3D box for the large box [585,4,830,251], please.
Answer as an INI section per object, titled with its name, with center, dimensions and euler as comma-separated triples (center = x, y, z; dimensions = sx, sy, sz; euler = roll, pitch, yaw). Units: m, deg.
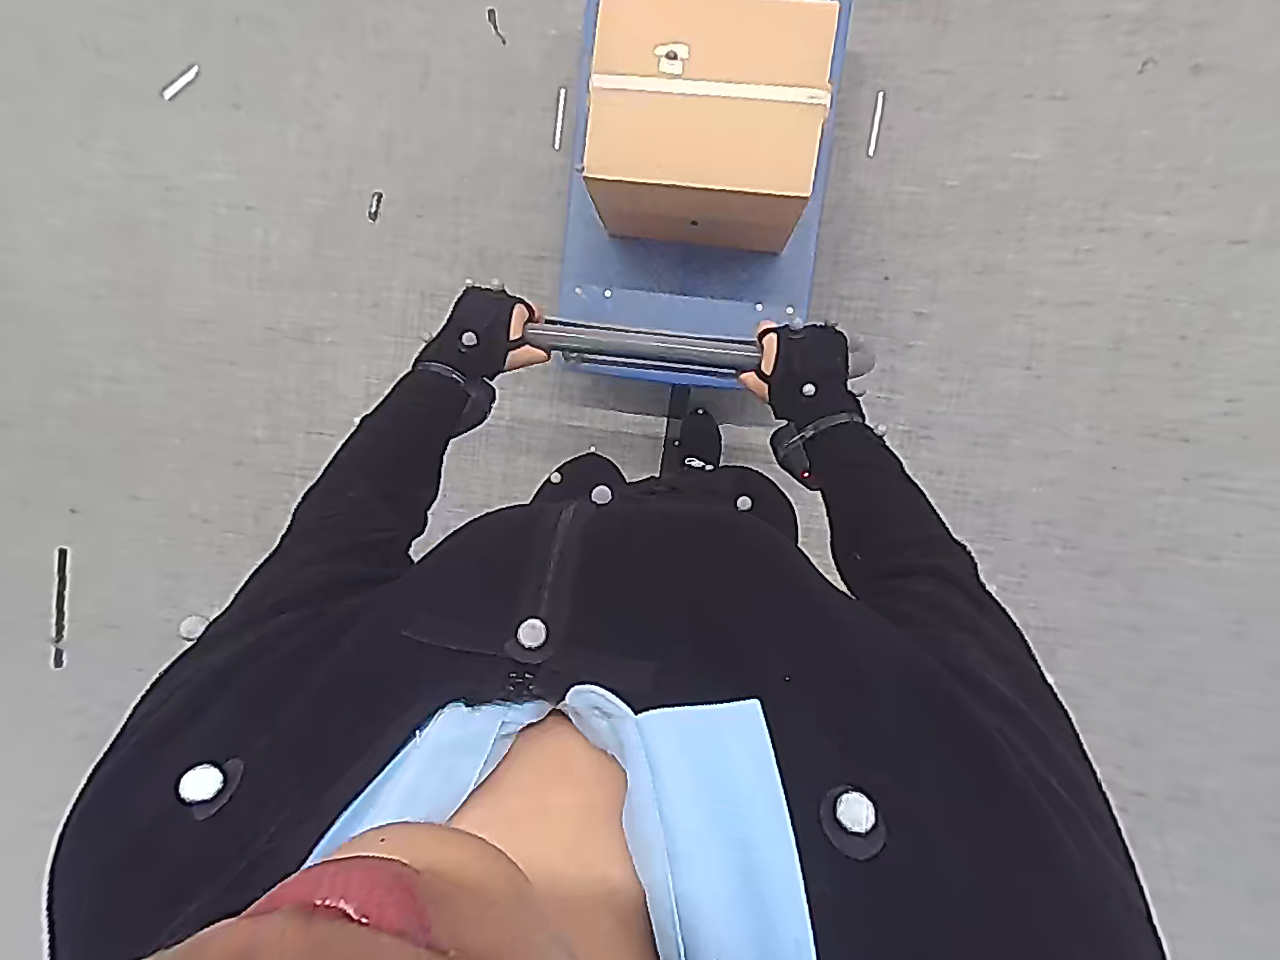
[large box]
center = 0.128, -0.677, 1.091
dimensions = 0.408, 0.320, 0.320
euler = 7, 95, 5
